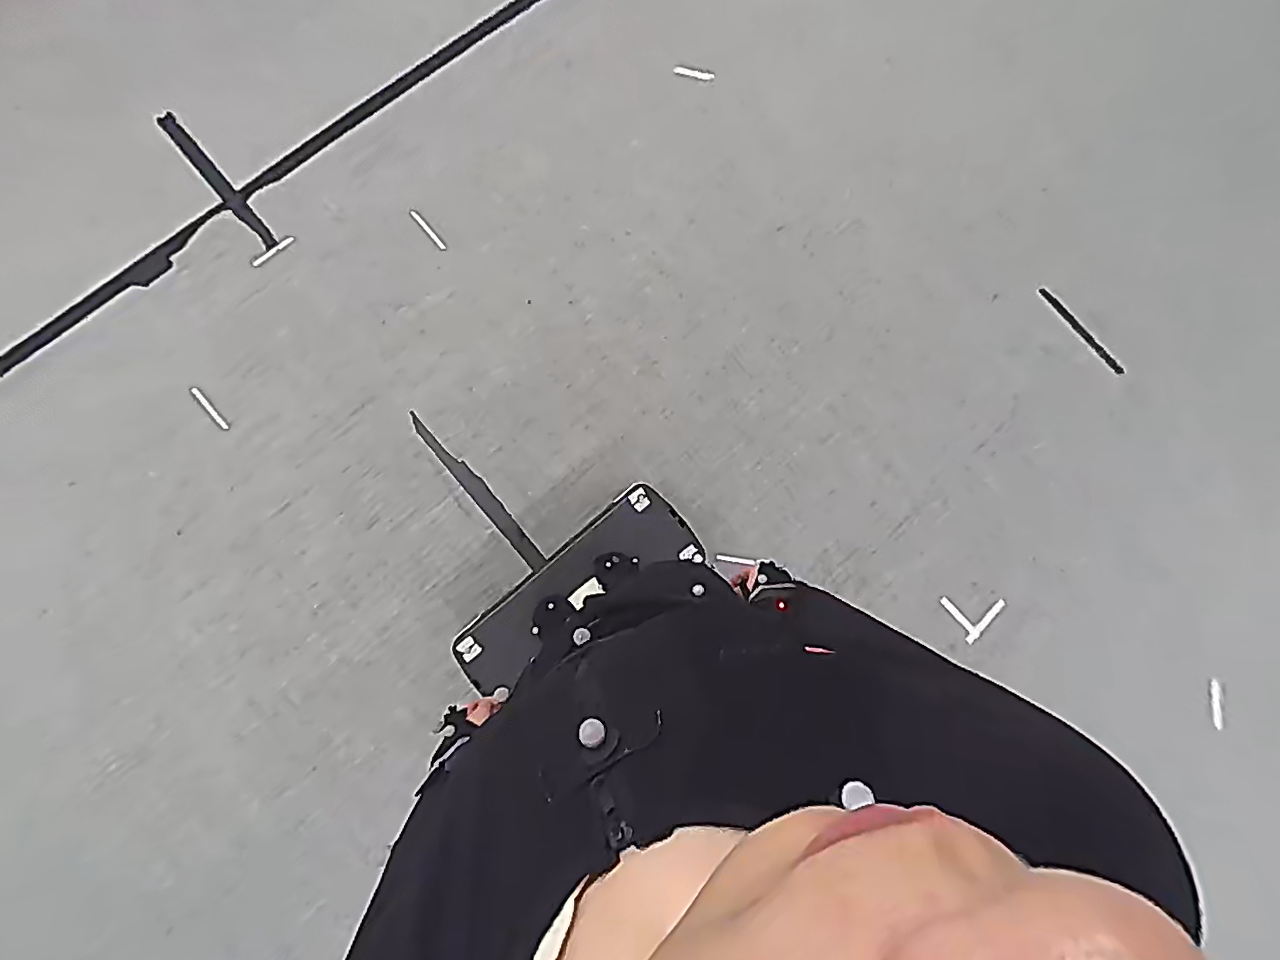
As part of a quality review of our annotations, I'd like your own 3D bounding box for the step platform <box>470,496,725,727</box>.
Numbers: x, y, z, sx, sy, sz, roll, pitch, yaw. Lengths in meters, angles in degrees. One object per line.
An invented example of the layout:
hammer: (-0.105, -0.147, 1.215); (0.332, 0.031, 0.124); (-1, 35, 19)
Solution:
step platform: (-0.107, 0.336, 1.456); (0.684, 0.204, 0.286); (-36, 86, -10)
